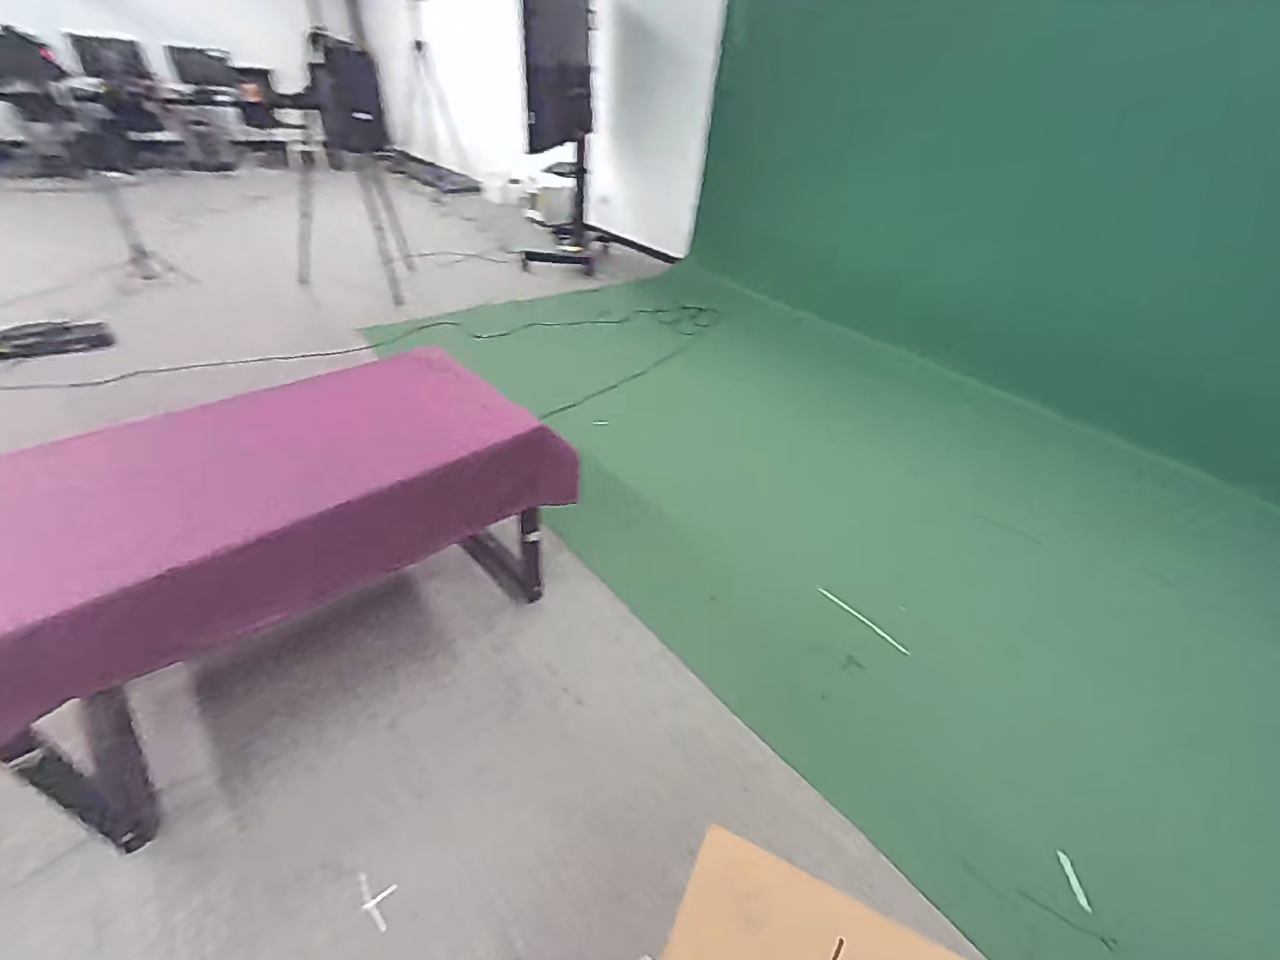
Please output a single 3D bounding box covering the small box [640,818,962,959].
[{"bbox_3d":[0.074,0.347,0.321,0.168,0.176,0.179,18,51,19],"label":"small box"}]
